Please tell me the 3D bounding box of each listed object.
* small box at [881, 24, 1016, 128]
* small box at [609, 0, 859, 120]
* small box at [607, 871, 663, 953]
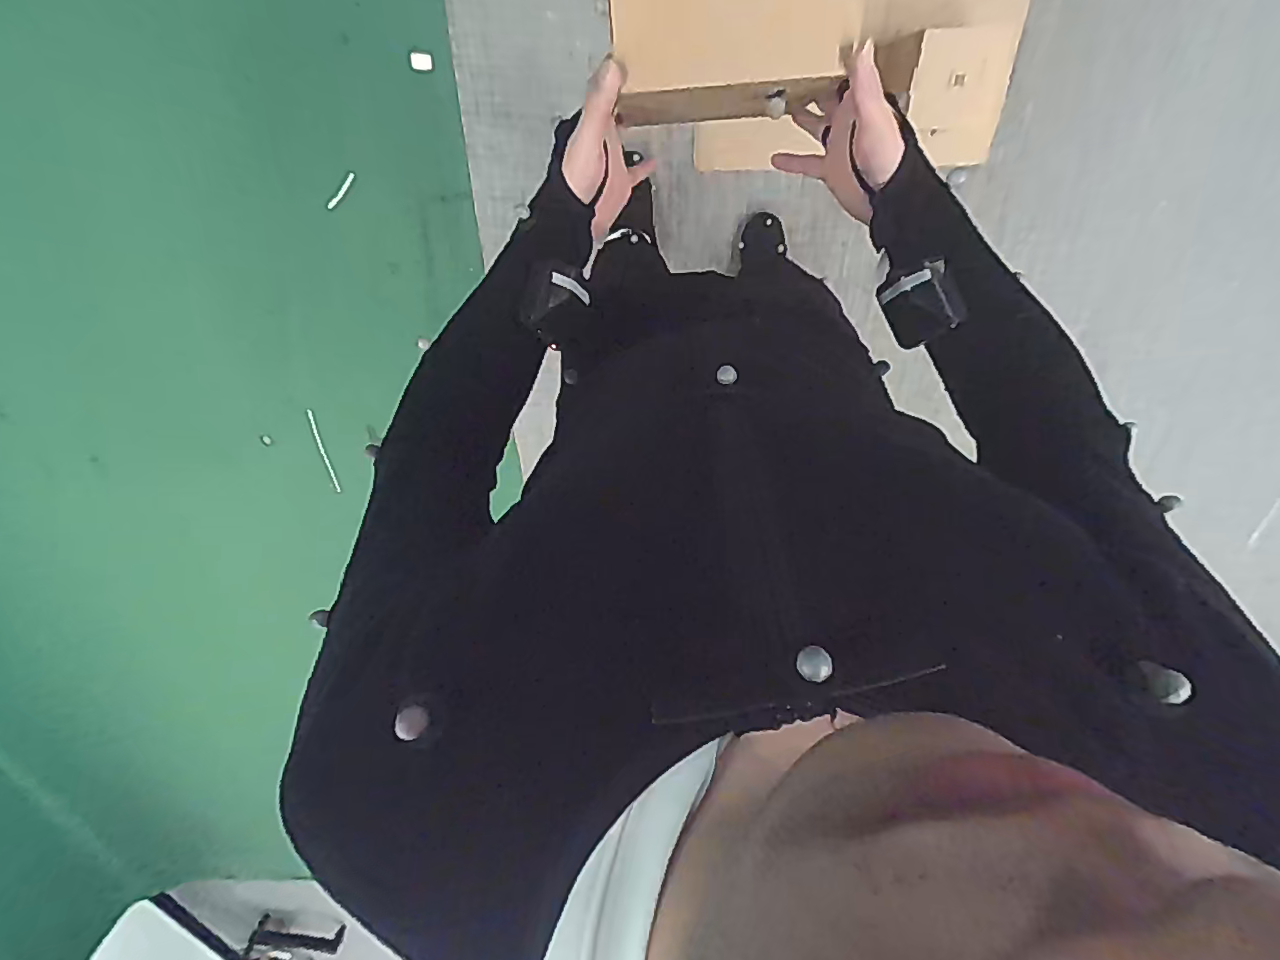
[{"bbox_3d":[0.636,-0.846,1.144,0.179,0.176,0.168,1,123,2],"label":"small box"},{"bbox_3d":[0.065,-0.401,0.430,0.179,0.176,0.168,-2,115,3],"label":"small box"},{"bbox_3d":[-0.015,1.399,1.756,0.179,0.176,0.168,1,122,2],"label":"small box"}]
